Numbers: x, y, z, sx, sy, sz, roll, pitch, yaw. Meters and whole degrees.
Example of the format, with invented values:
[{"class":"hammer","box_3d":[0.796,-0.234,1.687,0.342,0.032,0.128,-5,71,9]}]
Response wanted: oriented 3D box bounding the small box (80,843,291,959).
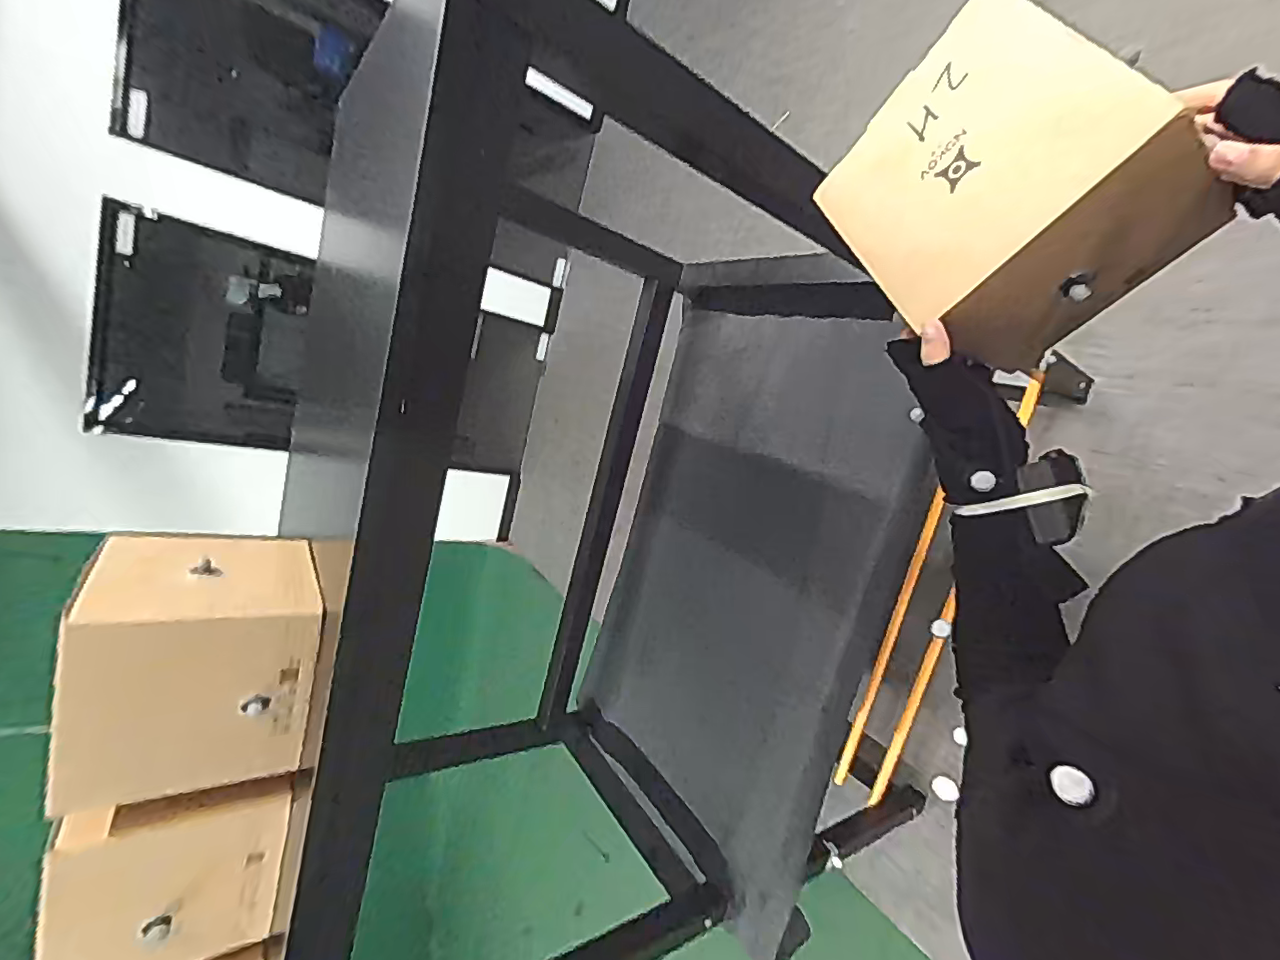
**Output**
[{"class":"small box","box_3d":[-0.496,0.539,0.591,0.179,0.176,0.168,25,104,51]}]
